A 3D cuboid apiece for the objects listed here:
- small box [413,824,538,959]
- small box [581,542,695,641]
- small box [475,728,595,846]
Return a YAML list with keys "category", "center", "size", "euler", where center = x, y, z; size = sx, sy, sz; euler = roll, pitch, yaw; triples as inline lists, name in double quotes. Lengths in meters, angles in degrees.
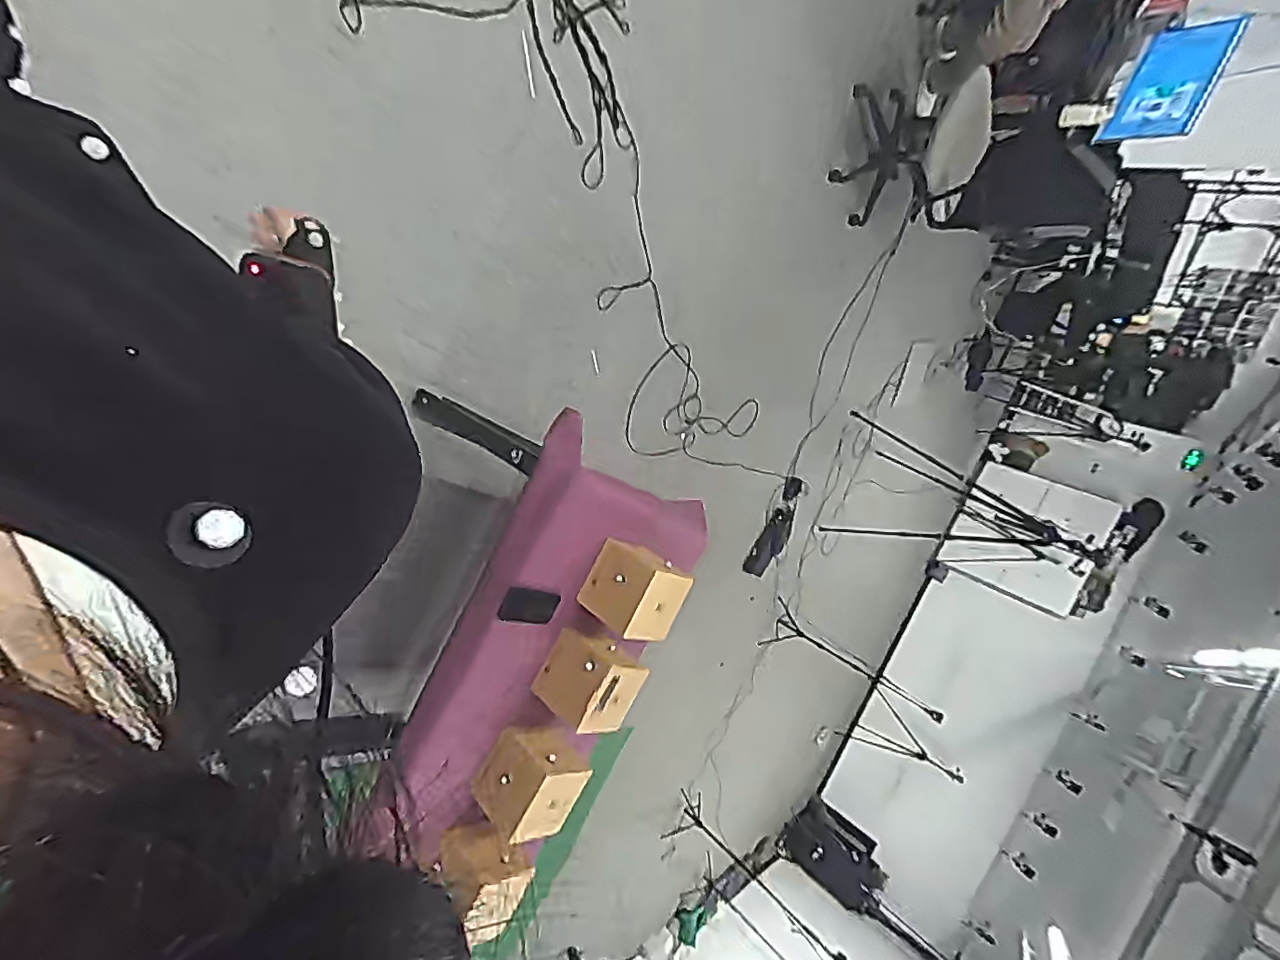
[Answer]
- category: "small box"
  center: [-0.376, 0.926, 1.239]
  size: [0.168, 0.176, 0.179]
  euler: [-60, 142, -6]
- category: "small box"
  center: [-0.007, 0.260, 1.272]
  size: [0.179, 0.176, 0.168]
  euler: [25, 91, -53]
- category: "small box"
  center: [-0.246, 0.700, 1.254]
  size: [0.168, 0.176, 0.179]
  euler: [-59, 143, -4]
